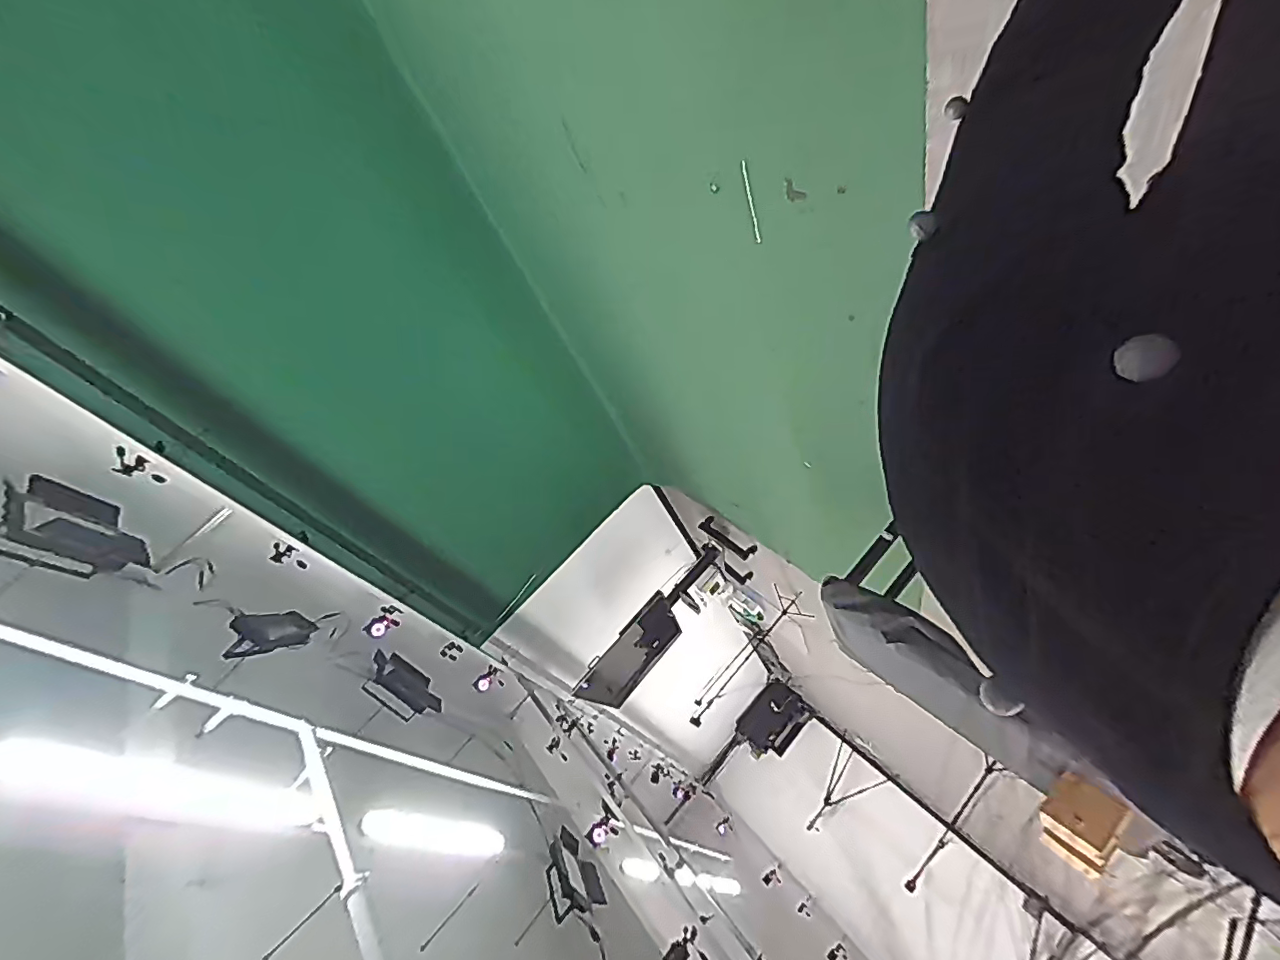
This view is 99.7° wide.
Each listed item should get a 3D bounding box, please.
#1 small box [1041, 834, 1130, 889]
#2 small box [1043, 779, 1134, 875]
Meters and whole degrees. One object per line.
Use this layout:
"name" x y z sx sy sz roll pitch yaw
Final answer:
"small box" 1.565 1.288 1.905 0.179 0.176 0.168 34 163 44
"small box" 1.439 1.108 1.735 0.179 0.176 0.168 31 161 53
